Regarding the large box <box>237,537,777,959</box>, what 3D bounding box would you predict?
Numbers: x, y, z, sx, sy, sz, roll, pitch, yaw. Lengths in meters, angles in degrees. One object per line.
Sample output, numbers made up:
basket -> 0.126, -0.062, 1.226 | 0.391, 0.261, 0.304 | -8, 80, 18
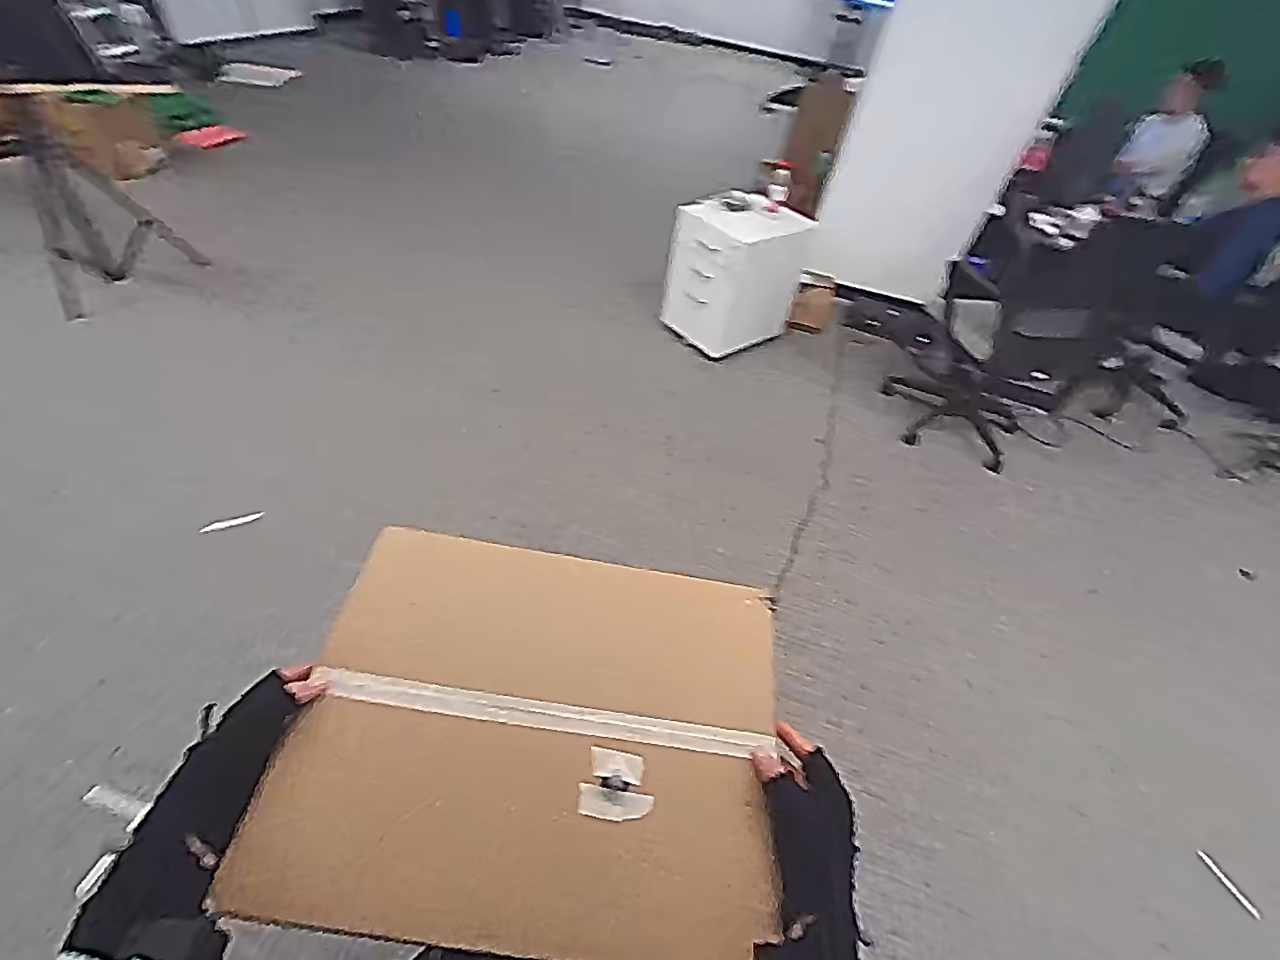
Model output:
large box -> -0.101, 0.300, 0.599 | 0.408, 0.320, 0.320 | 11, 52, -3
